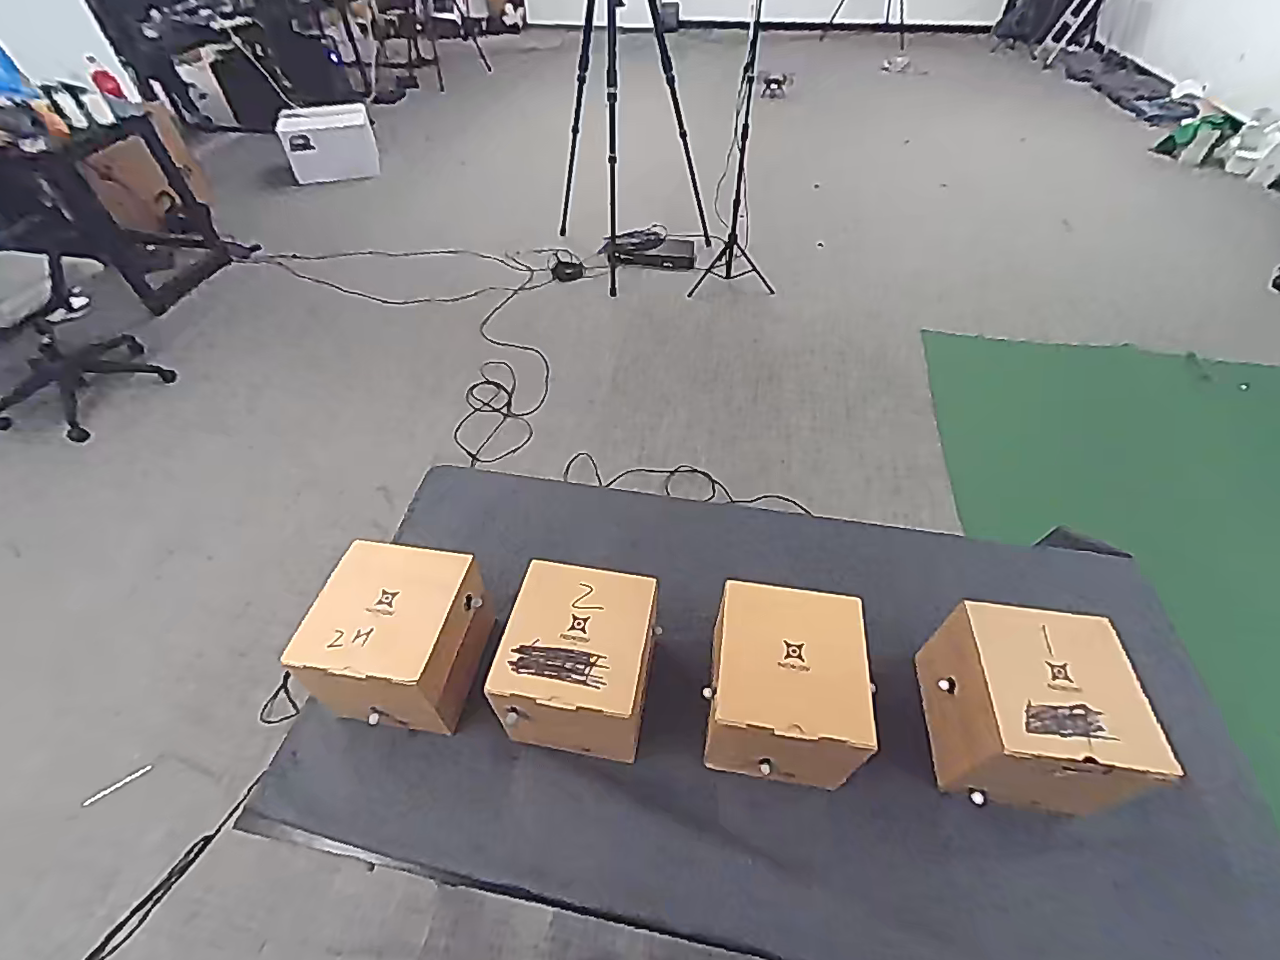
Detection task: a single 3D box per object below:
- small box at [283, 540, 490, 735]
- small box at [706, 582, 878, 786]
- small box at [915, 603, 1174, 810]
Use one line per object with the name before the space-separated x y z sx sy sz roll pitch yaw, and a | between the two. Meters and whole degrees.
small box | -0.309 0.206 0.709 0.168 0.176 0.179 7 47 5
small box | 0.175 0.254 0.673 0.168 0.176 0.179 7 49 6
small box | 0.457 0.275 0.650 0.168 0.176 0.179 7 48 6
